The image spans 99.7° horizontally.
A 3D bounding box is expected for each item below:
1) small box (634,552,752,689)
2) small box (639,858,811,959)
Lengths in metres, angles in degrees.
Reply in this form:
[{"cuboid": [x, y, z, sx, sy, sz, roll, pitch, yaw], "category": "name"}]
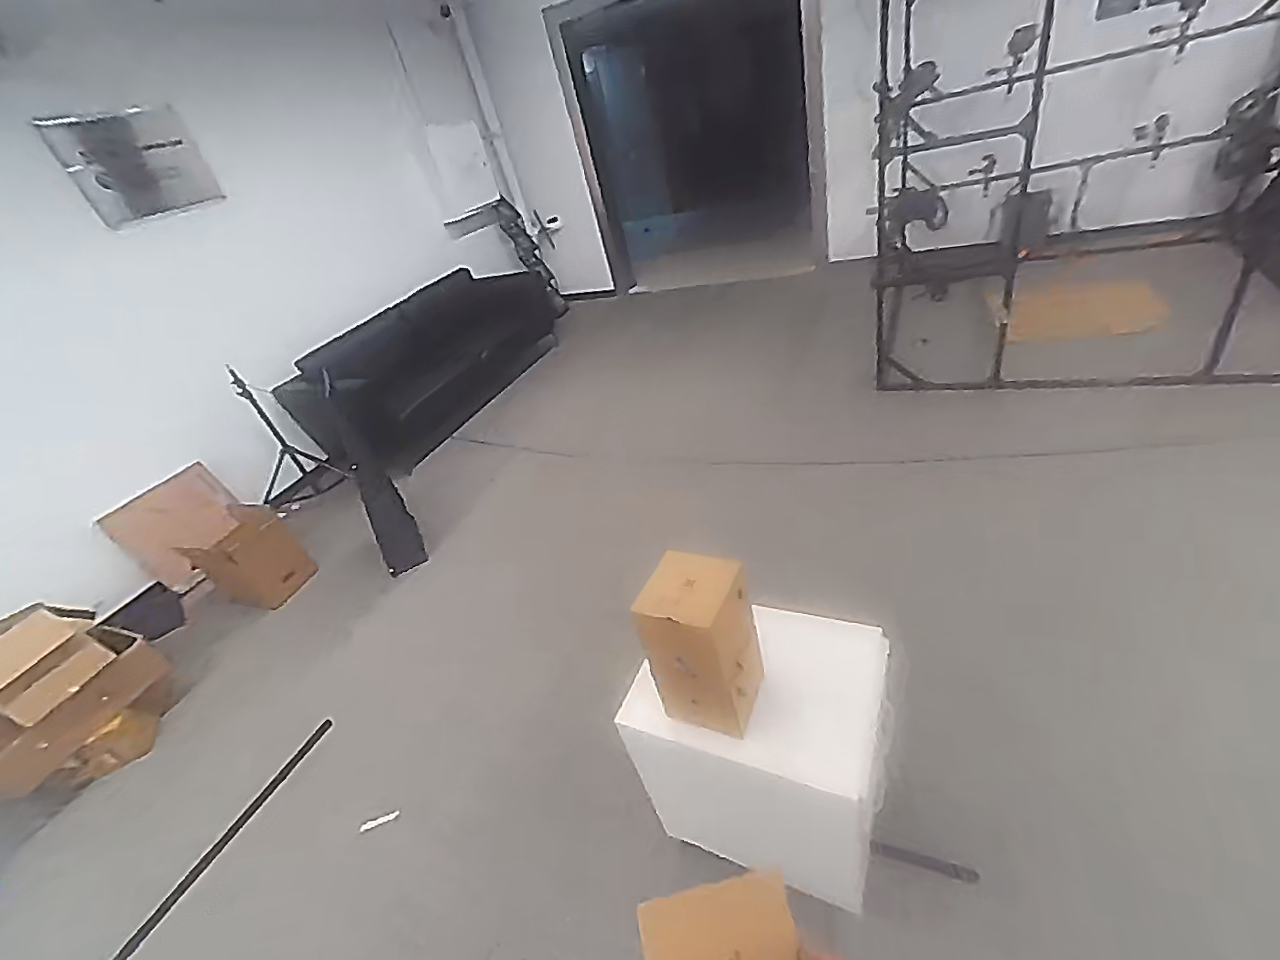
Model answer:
[{"cuboid": [0.113, 0.270, 1.059, 0.168, 0.176, 0.179, 5, 38, 31], "category": "small box"}, {"cuboid": [0.109, 0.577, 0.638, 0.179, 0.176, 0.168, -14, 46, -2], "category": "small box"}]
